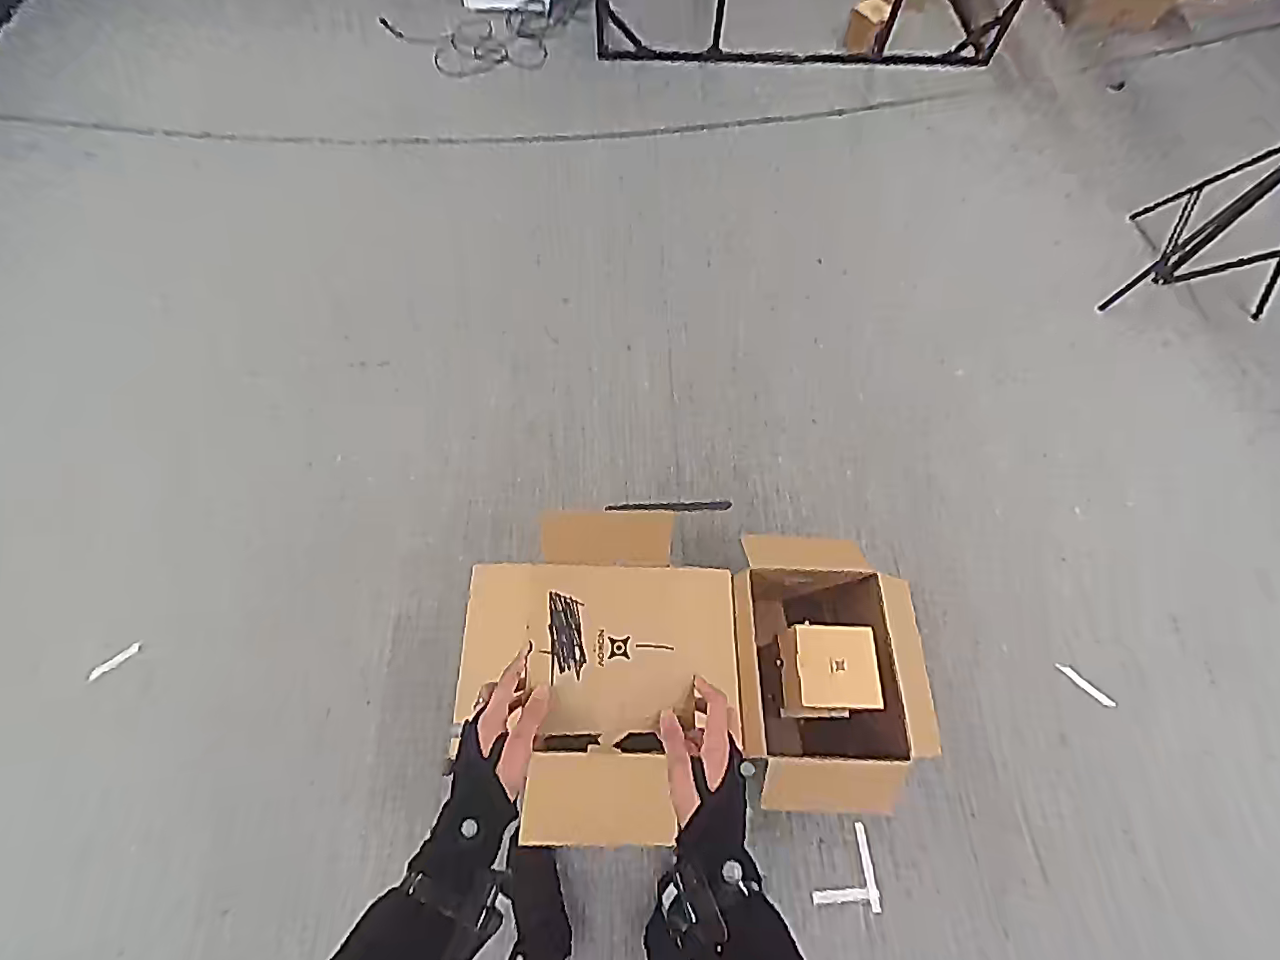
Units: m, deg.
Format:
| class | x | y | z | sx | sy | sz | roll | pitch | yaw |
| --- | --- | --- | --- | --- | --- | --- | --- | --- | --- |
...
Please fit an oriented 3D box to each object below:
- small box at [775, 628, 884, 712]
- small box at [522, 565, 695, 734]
| class | x | y | z | sx | sy | sz | roll | pitch | yaw |
| --- | --- | --- | --- | --- | --- | --- | --- | --- | --- |
| small box | 0.418 | 0.431 | 1.217 | 0.179 | 0.176 | 0.168 | 2 | 66 | -2 |
| small box | -0.032 | 0.194 | 0.636 | 0.179 | 0.176 | 0.168 | 2 | 75 | -2 |
